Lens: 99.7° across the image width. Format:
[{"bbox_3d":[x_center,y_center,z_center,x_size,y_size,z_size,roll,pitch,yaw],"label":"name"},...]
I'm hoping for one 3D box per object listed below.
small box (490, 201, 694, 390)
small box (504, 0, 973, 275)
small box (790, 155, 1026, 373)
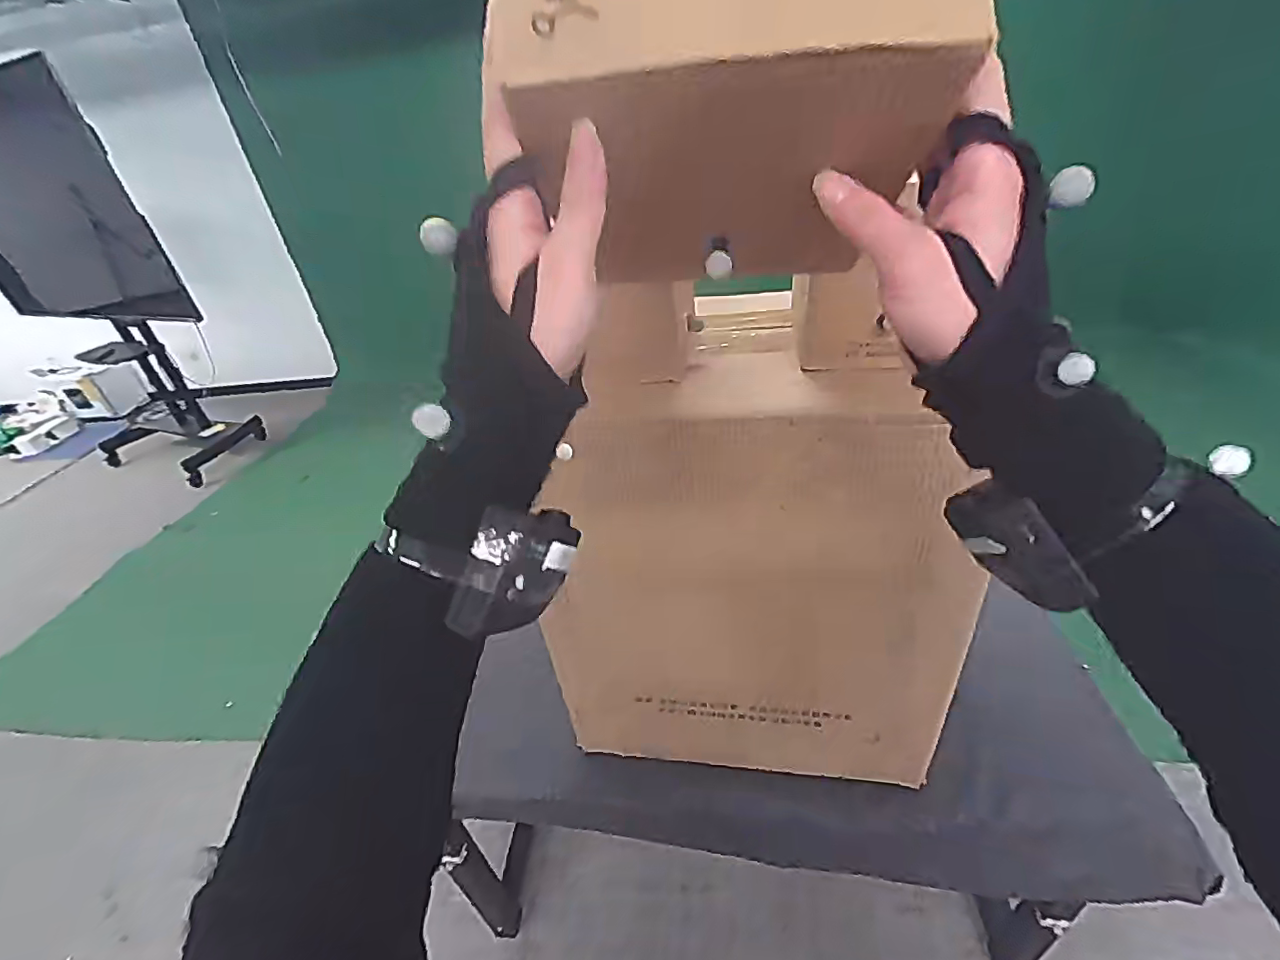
[{"bbox_3d":[-0.037,-0.210,0.601,0.179,0.176,0.168,1,38,11],"label":"small box"},{"bbox_3d":[0.040,-0.219,0.281,0.179,0.168,0.176,0,-1,4],"label":"small box"},{"bbox_3d":[0.248,-0.223,0.557,0.168,0.176,0.179,1,38,10],"label":"small box"}]
